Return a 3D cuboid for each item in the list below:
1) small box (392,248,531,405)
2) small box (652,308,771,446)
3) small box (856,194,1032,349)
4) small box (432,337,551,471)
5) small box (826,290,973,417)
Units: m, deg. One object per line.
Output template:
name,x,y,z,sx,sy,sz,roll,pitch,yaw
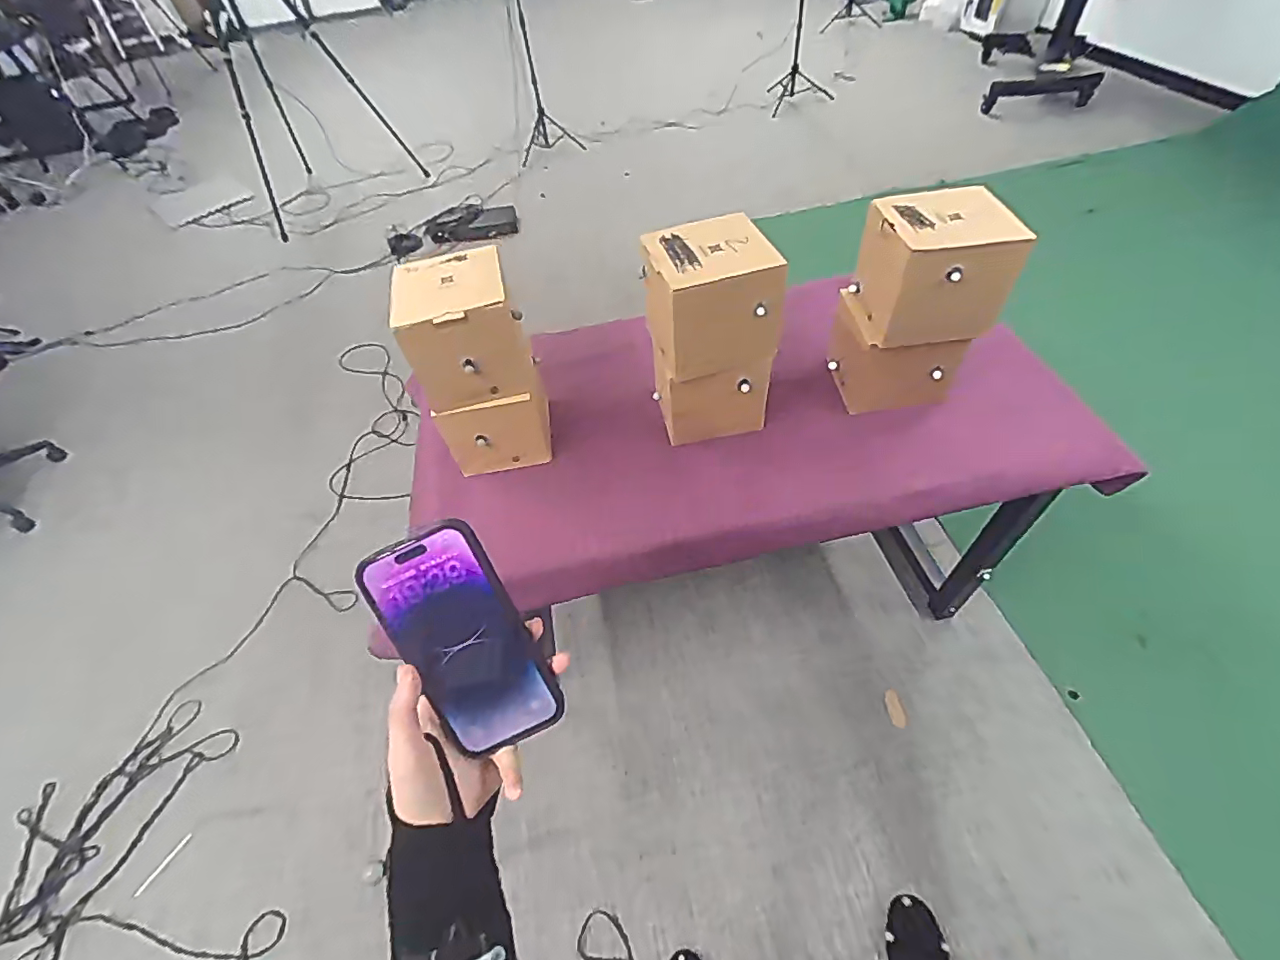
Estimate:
small box,-0.280,-0.239,0.873,0.168,0.176,0.179,-13,52,-5
small box,0.124,-0.185,0.991,0.179,0.176,0.168,-10,51,-1
small box,0.457,-0.324,0.855,0.179,0.176,0.168,-5,51,2
small box,-0.264,-0.132,0.996,0.168,0.176,0.179,-10,51,-1
small box,0.461,-0.233,0.992,0.179,0.176,0.168,-5,51,3
